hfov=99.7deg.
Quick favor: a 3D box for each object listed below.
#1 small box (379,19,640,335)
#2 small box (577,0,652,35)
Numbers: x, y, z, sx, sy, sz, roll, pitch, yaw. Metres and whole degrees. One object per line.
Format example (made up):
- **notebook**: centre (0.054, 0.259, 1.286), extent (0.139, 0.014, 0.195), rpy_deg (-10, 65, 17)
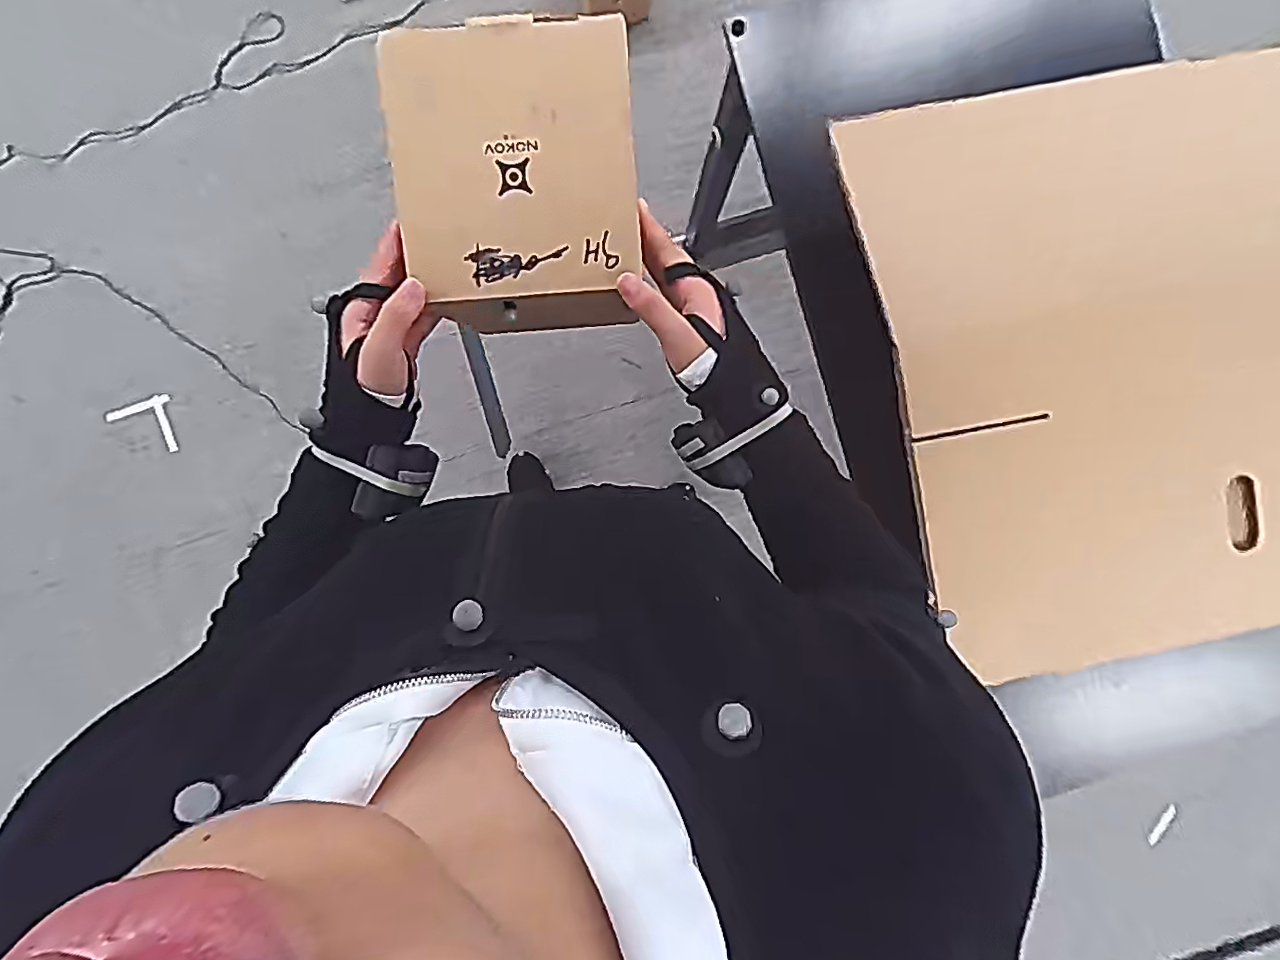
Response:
- **small box**: centre (-0.089, -0.226, 0.448), extent (0.168, 0.176, 0.179), rpy_deg (-4, 97, 0)
- **small box**: centre (-0.071, -1.296, 1.405), extent (0.179, 0.176, 0.168), rpy_deg (-20, 91, -1)
